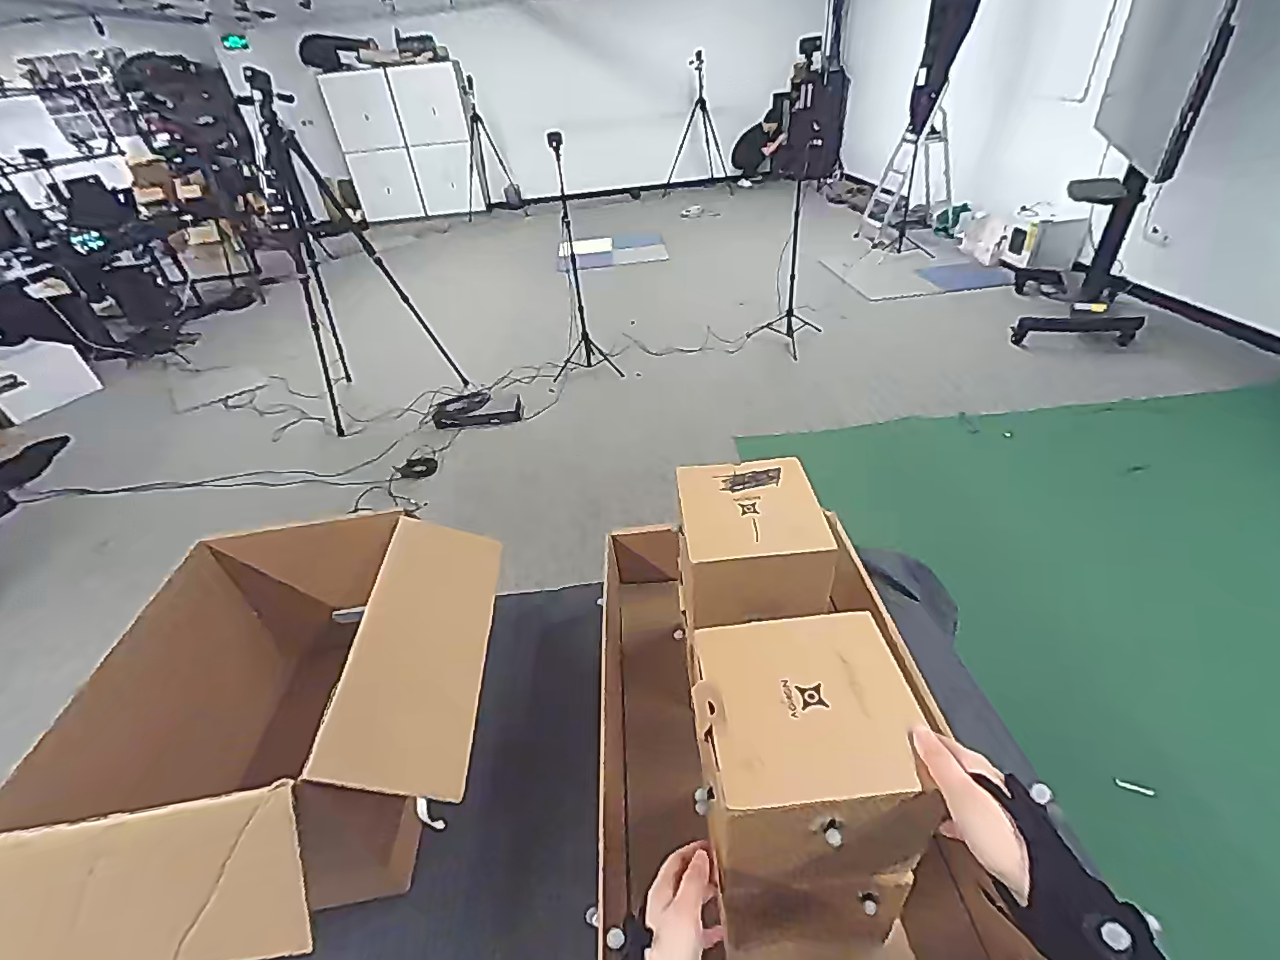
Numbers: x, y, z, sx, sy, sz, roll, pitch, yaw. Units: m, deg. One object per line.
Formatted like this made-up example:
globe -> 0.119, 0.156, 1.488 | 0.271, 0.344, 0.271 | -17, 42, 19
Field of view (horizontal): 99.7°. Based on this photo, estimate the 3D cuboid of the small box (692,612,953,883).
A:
small box -> 0.149, 0.249, 0.507 | 0.179, 0.176, 0.168 | -6, 37, 0

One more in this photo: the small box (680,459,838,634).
small box -> 0.141, 0.094, 0.708 | 0.168, 0.176, 0.179 | -5, 39, 2
